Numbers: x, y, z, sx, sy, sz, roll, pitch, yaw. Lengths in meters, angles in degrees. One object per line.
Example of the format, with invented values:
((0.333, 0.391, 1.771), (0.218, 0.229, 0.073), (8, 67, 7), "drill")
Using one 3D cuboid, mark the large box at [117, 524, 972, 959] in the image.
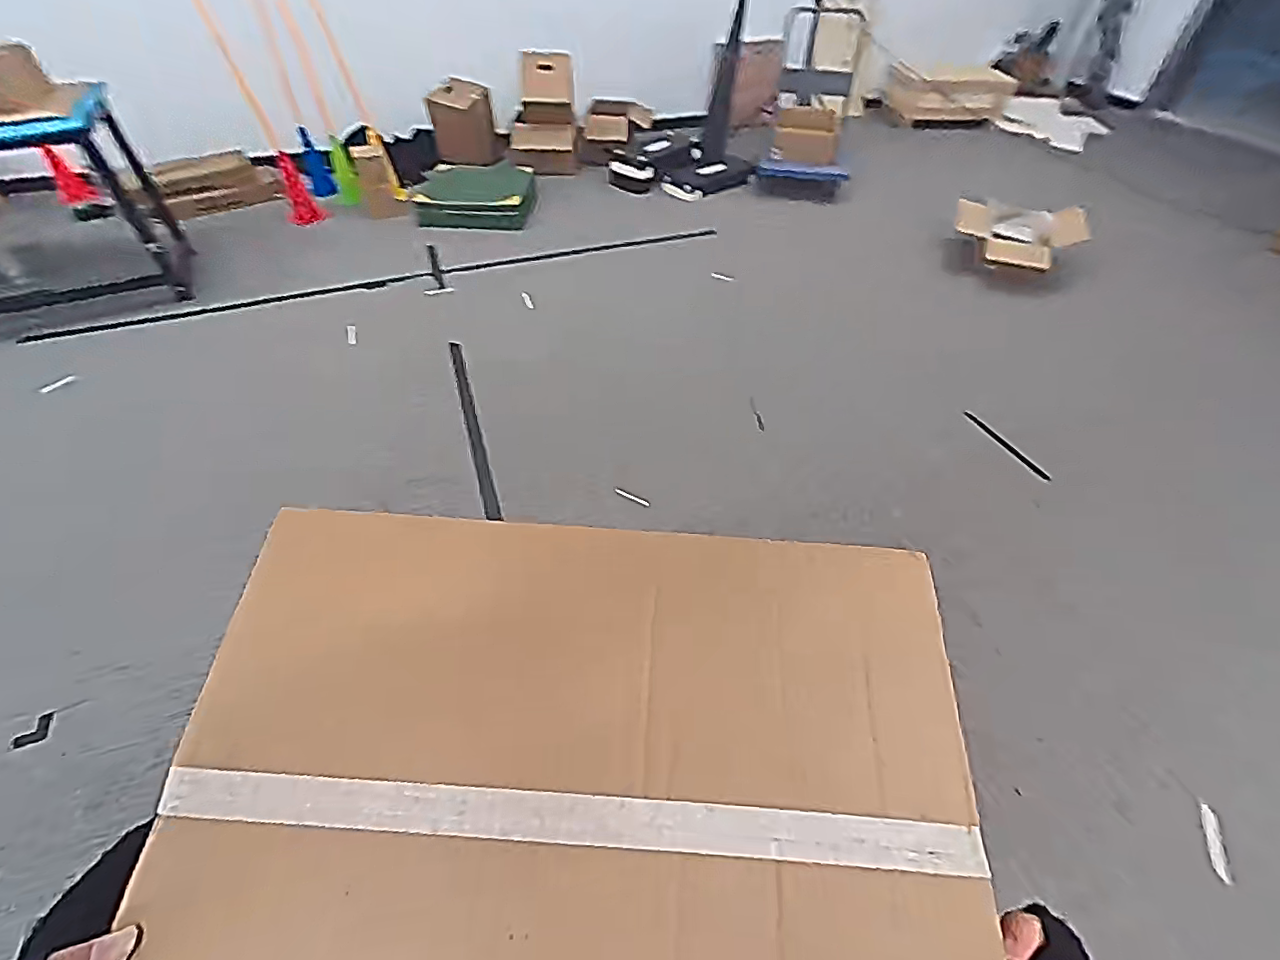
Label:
((-0.042, 0.242, 0.410), (0.408, 0.320, 0.320), (3, 63, 1), "large box")
